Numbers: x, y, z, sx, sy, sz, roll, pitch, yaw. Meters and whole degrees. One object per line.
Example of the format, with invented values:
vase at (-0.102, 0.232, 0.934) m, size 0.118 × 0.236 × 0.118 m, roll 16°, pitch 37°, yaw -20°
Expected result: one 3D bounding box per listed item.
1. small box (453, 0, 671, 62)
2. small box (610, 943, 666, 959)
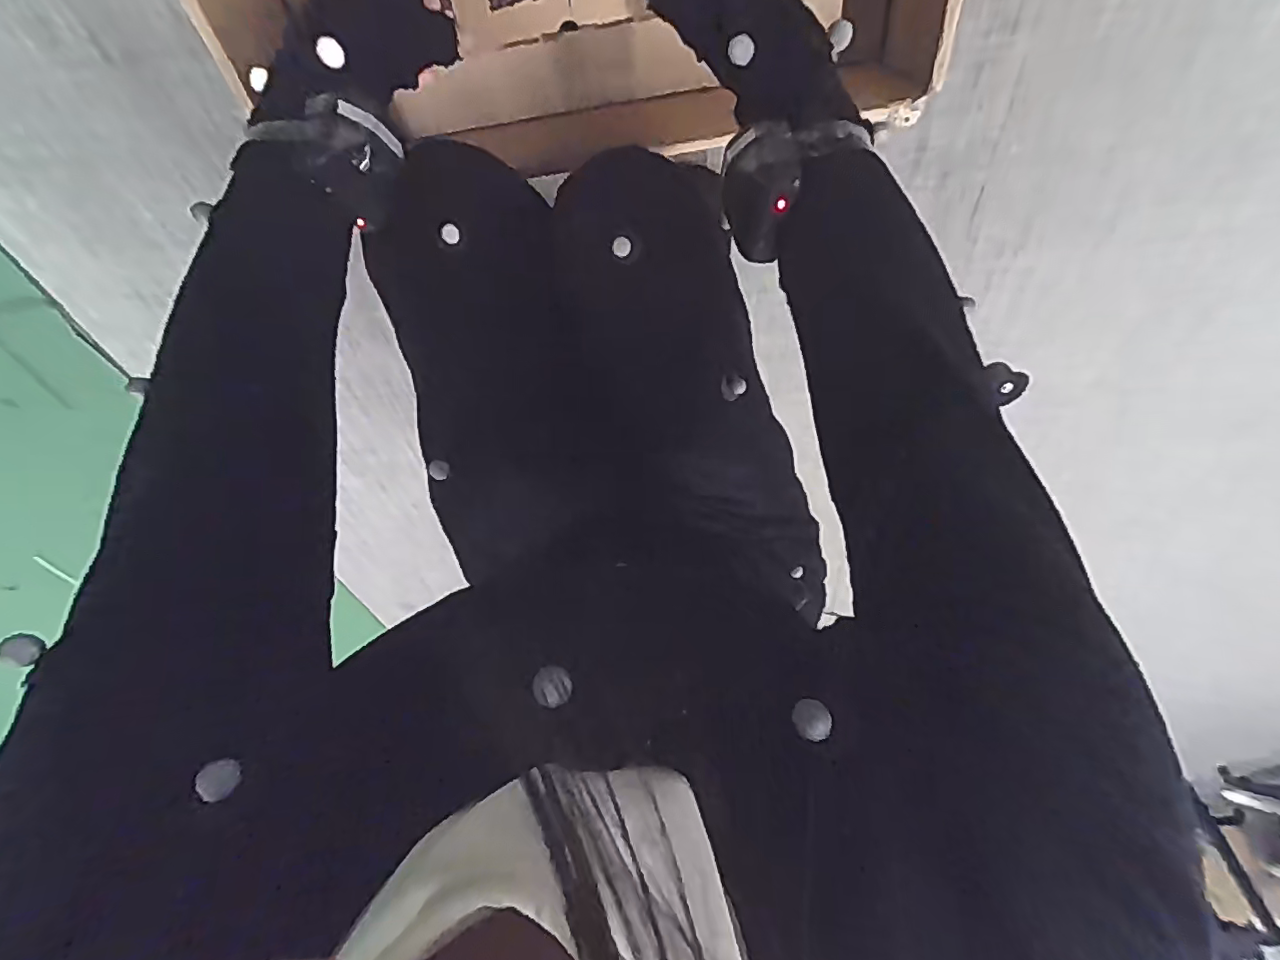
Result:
small box at (-0.069, -0.460, 0.422) m, size 0.168 × 0.176 × 0.179 m, roll -8°, pitch 133°, yaw 5°
small box at (-0.002, 1.671, 1.815) m, size 0.179 × 0.176 × 0.168 m, roll -6°, pitch 140°, yaw 6°
